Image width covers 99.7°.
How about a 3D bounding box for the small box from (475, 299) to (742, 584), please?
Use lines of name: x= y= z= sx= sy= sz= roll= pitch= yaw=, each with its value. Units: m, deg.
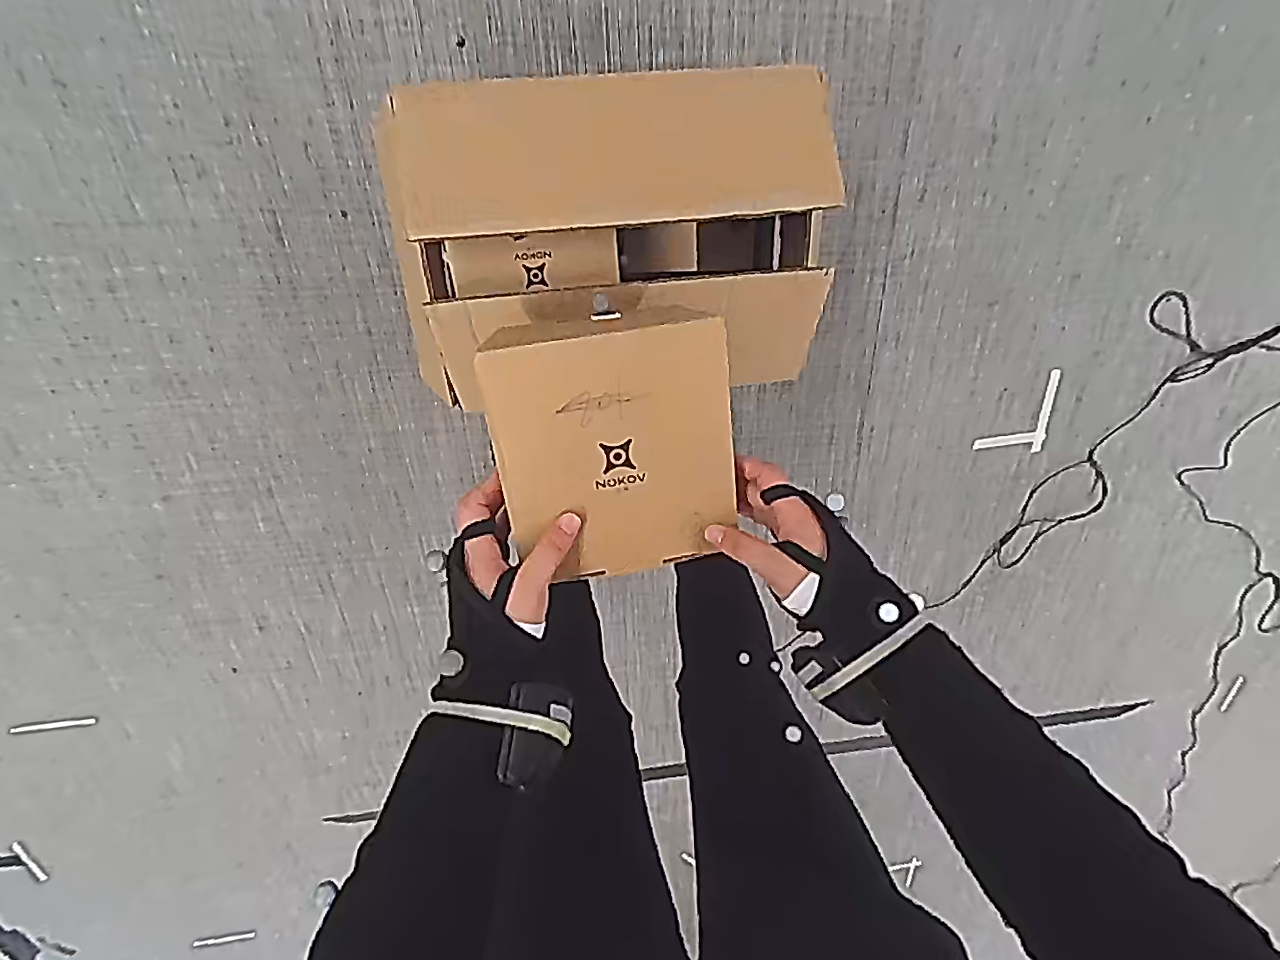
small box: x=-0.023 y=-0.044 z=0.442 sx=0.168 sy=0.176 sz=0.179 roll=-10 pitch=112 yaw=-6
